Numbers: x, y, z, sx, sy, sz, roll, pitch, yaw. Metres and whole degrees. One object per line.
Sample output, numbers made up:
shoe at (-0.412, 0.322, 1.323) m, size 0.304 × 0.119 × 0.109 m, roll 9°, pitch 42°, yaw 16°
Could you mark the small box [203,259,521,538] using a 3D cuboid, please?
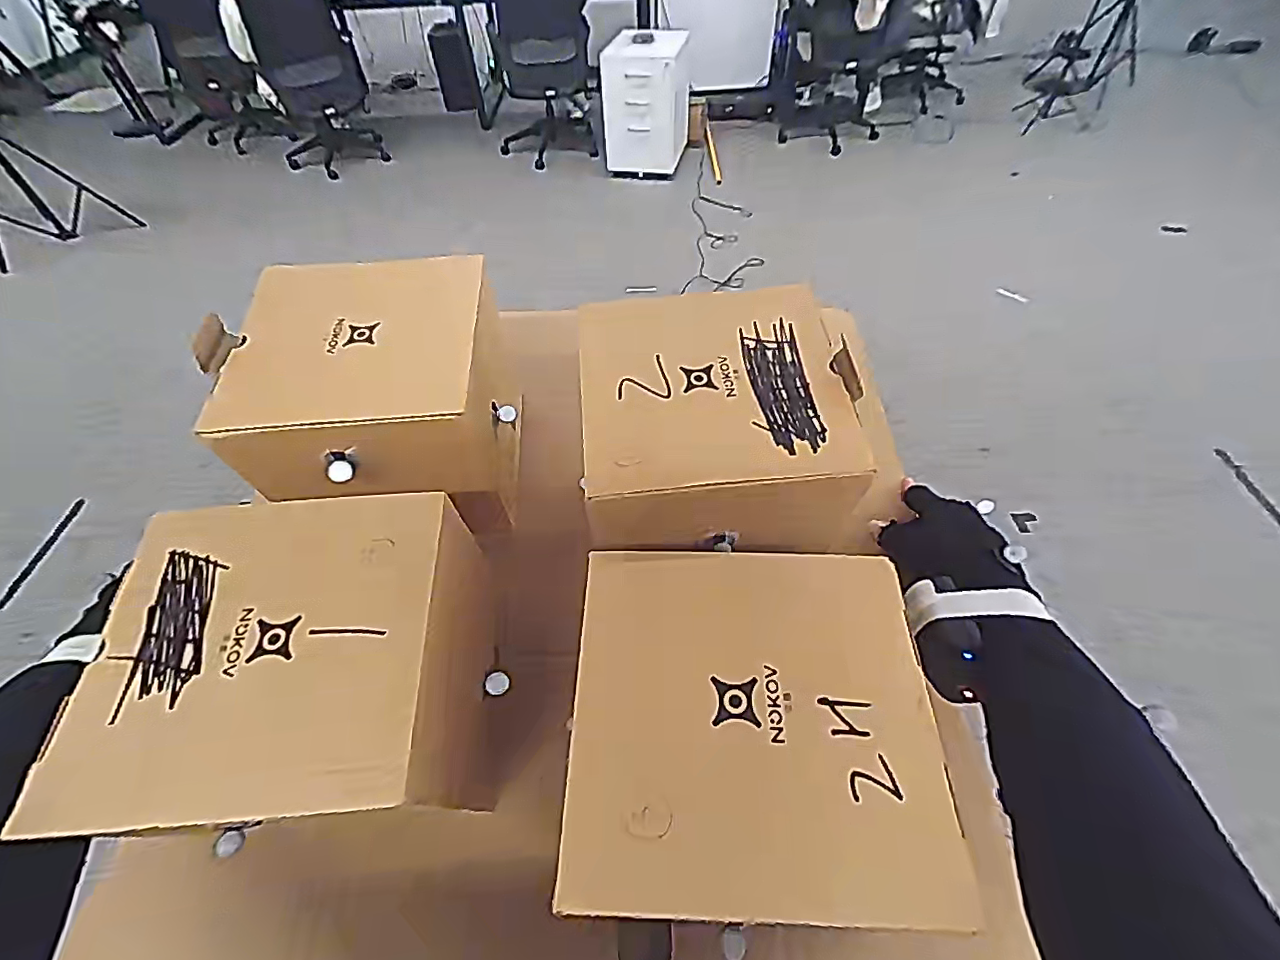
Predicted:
small box at (-0.205, -0.063, 0.465) m, size 0.179 × 0.176 × 0.168 m, roll -5°, pitch 57°, yaw -1°
